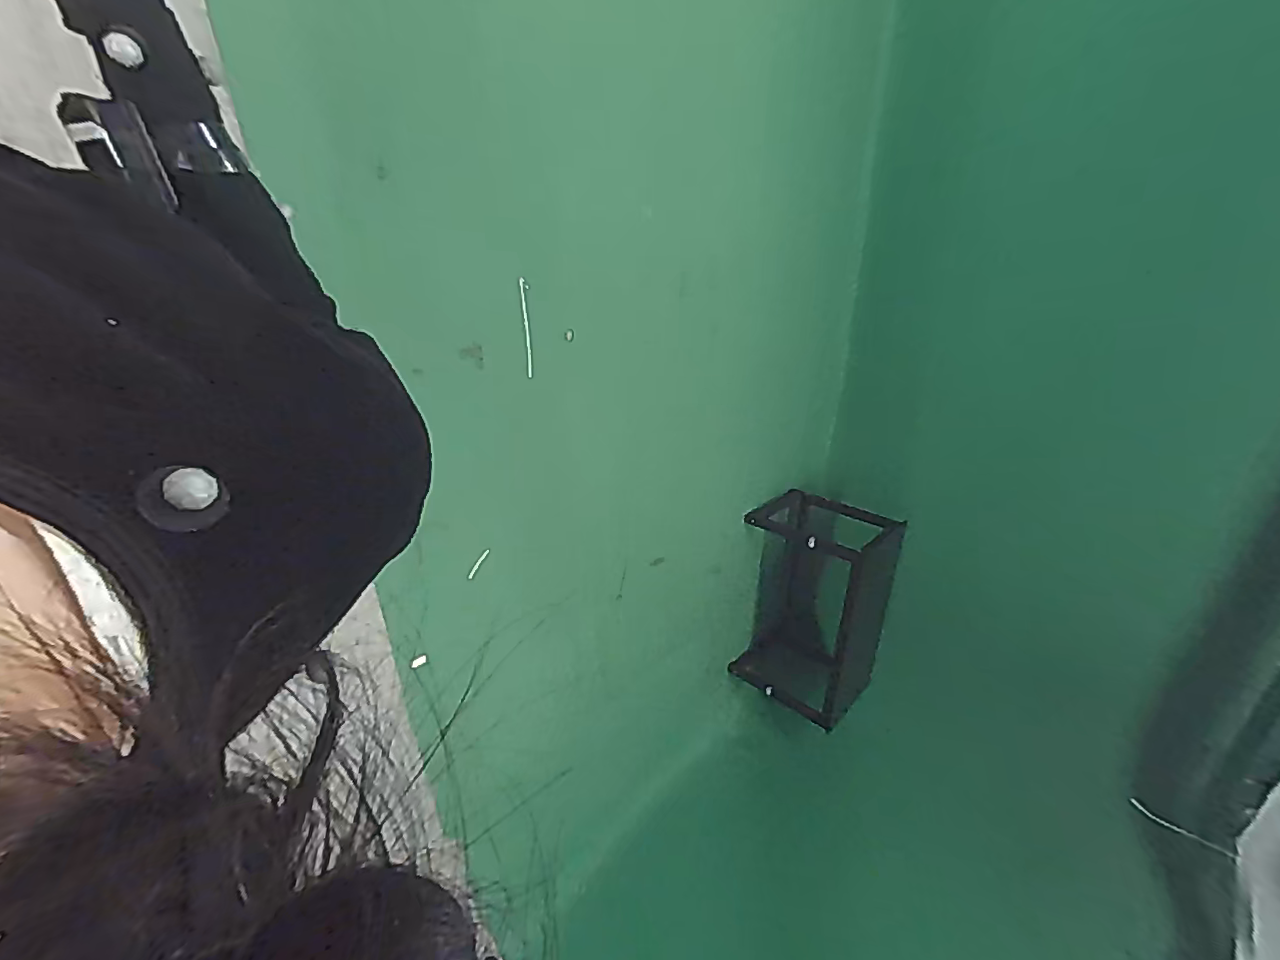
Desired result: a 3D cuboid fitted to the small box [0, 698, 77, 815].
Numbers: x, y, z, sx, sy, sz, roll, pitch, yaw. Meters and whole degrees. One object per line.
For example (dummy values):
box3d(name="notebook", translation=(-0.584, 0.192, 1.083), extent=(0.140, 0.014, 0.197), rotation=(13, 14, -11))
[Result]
box3d(name="small box", translation=(-1.251, 0.565, 1.047), extent=(0.179, 0.176, 0.168), rotation=(-28, 124, -34))
